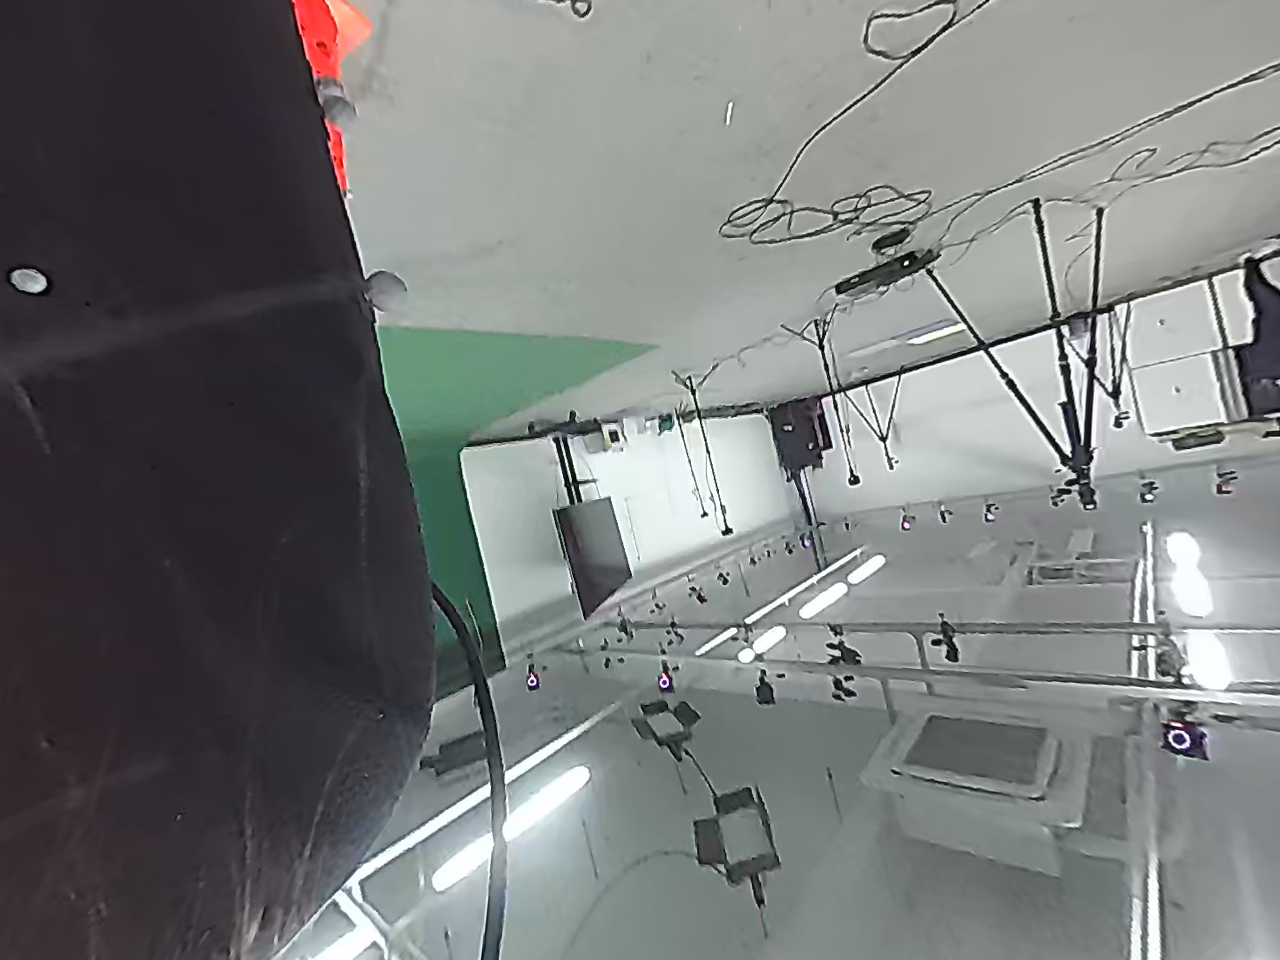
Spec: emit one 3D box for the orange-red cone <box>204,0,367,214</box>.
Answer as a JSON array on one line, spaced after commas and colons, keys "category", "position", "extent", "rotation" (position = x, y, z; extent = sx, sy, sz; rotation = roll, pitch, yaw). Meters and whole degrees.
[{"category": "orange-red cone", "position": [-0.584, -0.655, 0.963], "extent": [0.198, 0.360, 0.199], "rotation": [-13, 180, 23]}]
